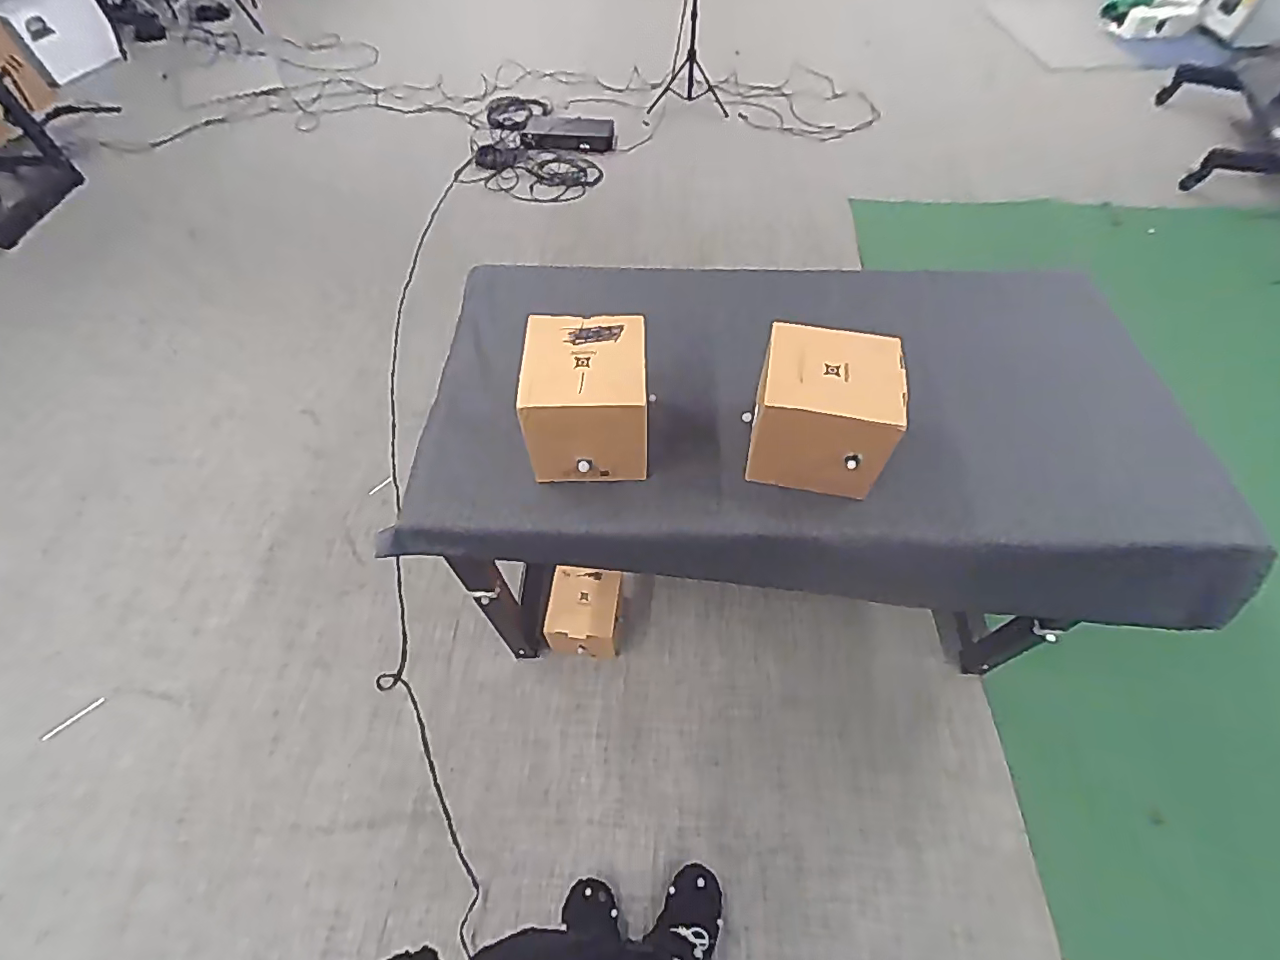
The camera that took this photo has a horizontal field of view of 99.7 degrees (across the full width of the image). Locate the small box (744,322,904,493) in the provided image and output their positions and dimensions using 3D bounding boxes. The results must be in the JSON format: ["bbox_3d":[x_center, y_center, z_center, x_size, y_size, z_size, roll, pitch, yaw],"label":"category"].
[{"bbox_3d":[0.256,-0.099,0.781,0.179,0.176,0.168,9,55,7],"label":"small box"}]

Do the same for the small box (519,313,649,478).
[{"bbox_3d":[-0.072,-0.122,0.791,0.168,0.176,0.179,-1,56,-1],"label":"small box"}]
